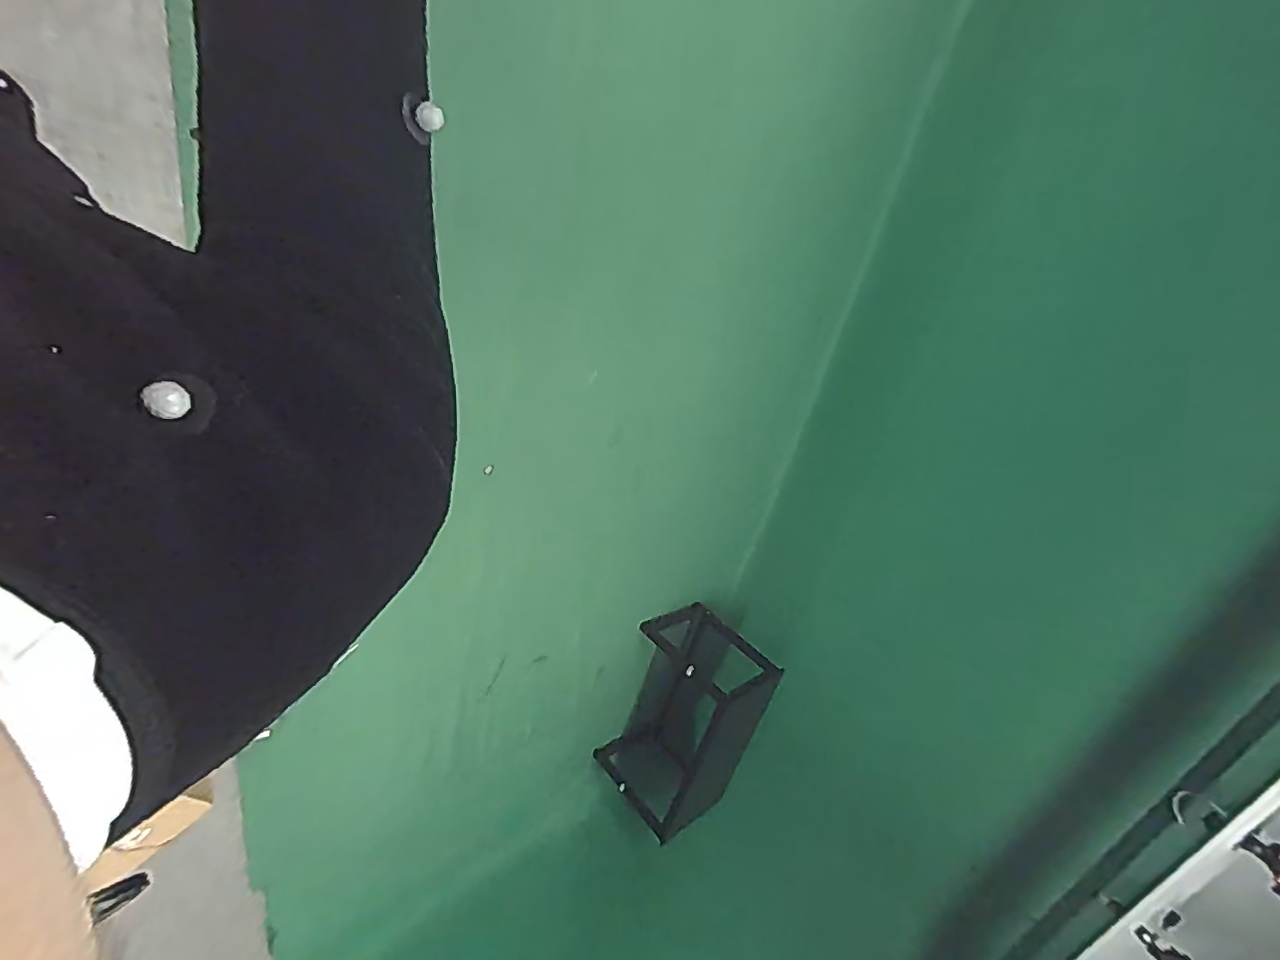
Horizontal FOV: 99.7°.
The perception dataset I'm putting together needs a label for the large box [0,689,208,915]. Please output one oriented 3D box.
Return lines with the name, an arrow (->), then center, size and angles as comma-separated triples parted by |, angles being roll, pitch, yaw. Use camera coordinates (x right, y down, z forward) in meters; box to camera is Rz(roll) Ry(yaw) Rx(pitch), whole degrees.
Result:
large box -> -1.526, 0.873, 1.483 | 0.408, 0.320, 0.320 | -40, 142, -21
